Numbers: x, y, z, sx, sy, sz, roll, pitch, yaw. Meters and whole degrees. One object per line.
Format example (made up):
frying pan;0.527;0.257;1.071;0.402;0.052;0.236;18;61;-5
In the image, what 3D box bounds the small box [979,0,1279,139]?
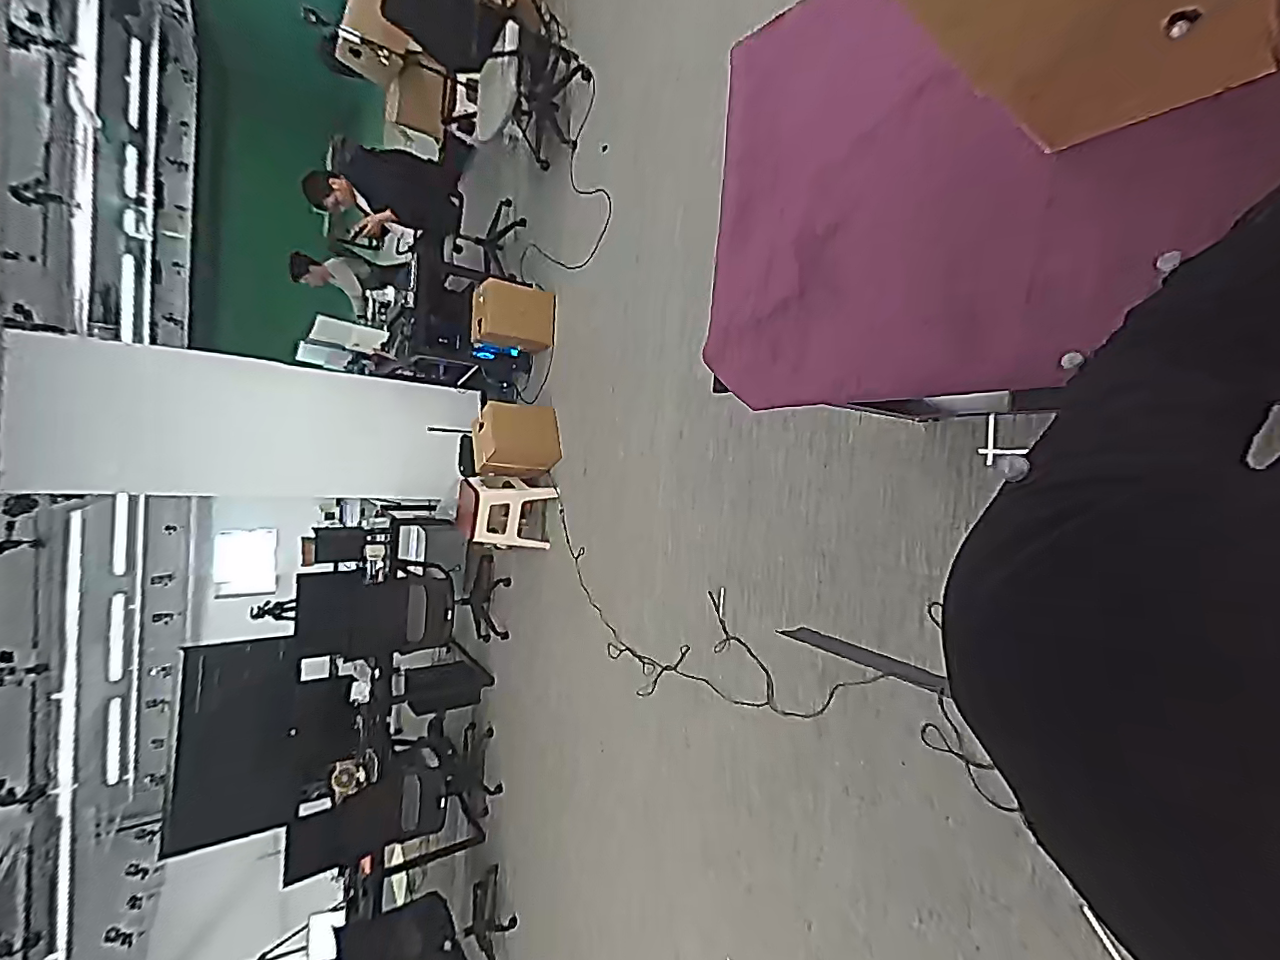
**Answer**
small box;0.439;-0.447;0.481;0.179;0.176;0.168;5;92;54
